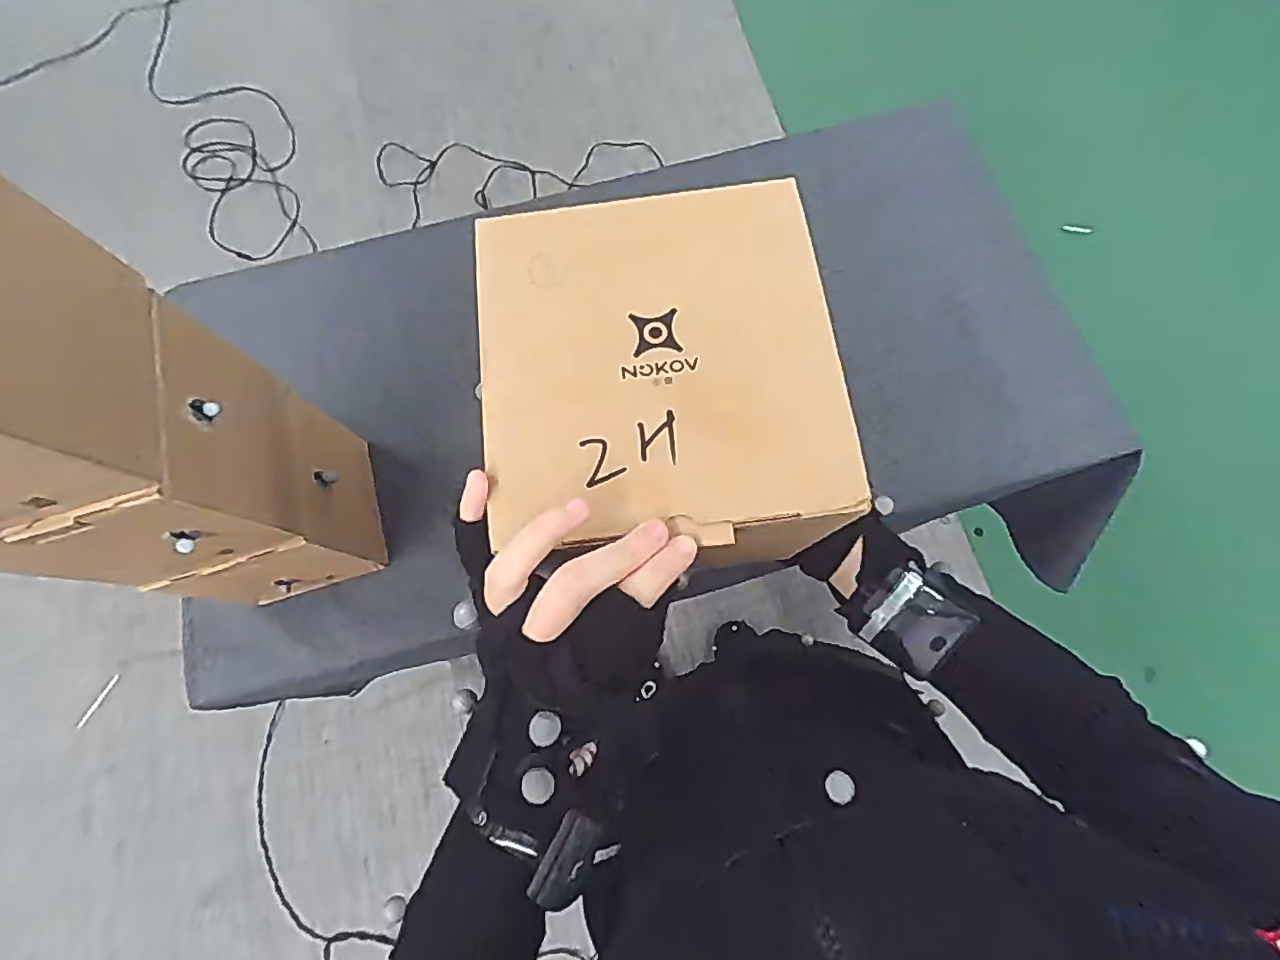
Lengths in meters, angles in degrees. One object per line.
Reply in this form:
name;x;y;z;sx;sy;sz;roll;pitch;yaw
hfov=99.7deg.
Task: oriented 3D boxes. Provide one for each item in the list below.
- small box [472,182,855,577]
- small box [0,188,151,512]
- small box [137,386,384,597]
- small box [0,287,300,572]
small box;0.007;-0.041;0.328;0.168;0.176;0.179;-5;75;1
small box;-0.431;-0.079;0.309;0.168;0.176;0.179;-17;74;-4
small box;-0.420;0.023;0.619;0.168;0.176;0.179;-17;74;-3
small box;-0.424;-0.026;0.464;0.168;0.176;0.179;-16;74;-4
